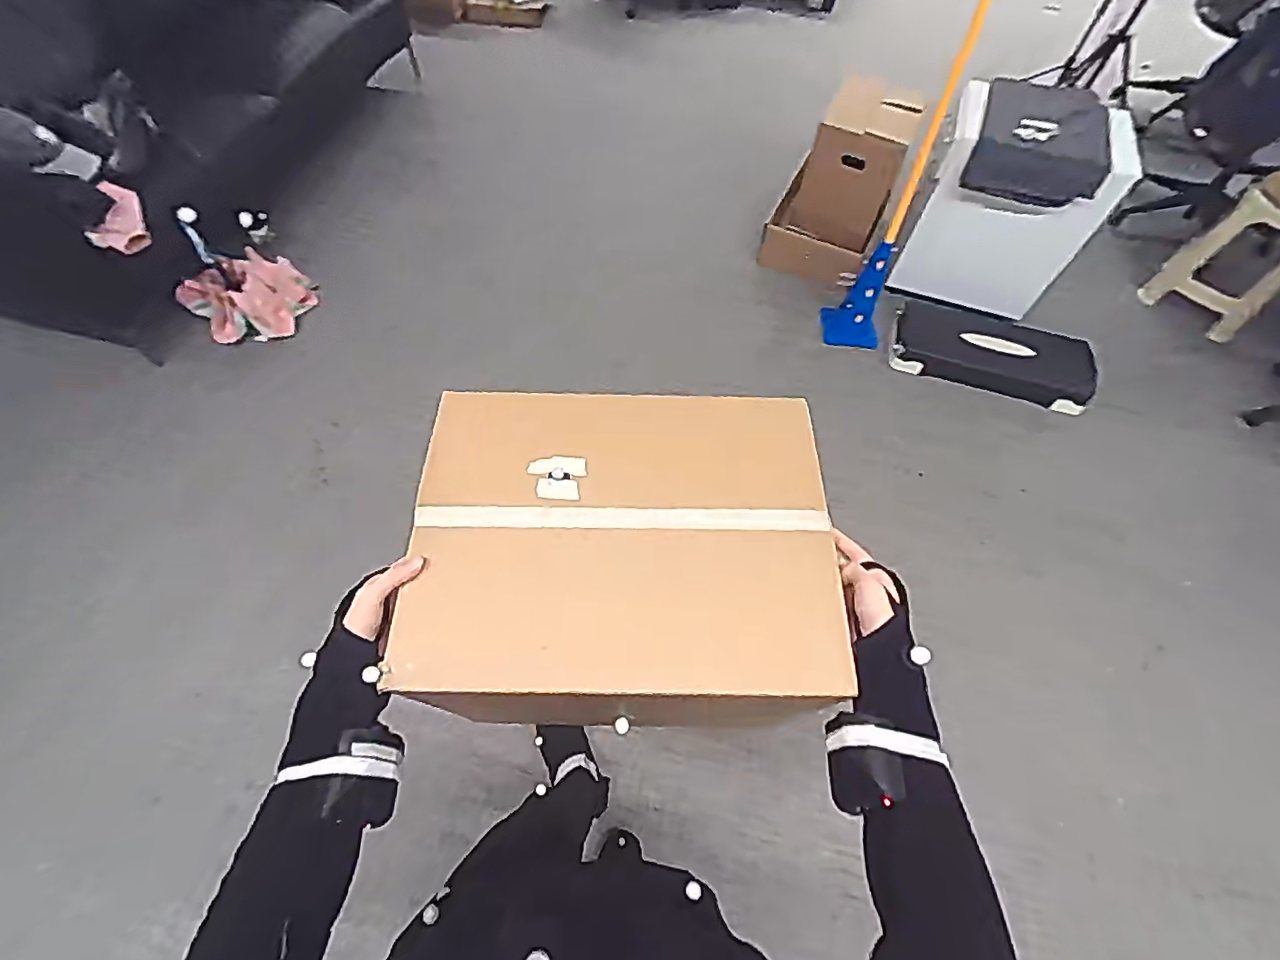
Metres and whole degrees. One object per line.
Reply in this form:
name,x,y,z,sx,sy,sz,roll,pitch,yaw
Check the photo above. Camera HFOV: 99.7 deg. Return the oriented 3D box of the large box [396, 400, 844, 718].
large box,-0.017,0.117,0.675,0.408,0.320,0.320,0,61,0
